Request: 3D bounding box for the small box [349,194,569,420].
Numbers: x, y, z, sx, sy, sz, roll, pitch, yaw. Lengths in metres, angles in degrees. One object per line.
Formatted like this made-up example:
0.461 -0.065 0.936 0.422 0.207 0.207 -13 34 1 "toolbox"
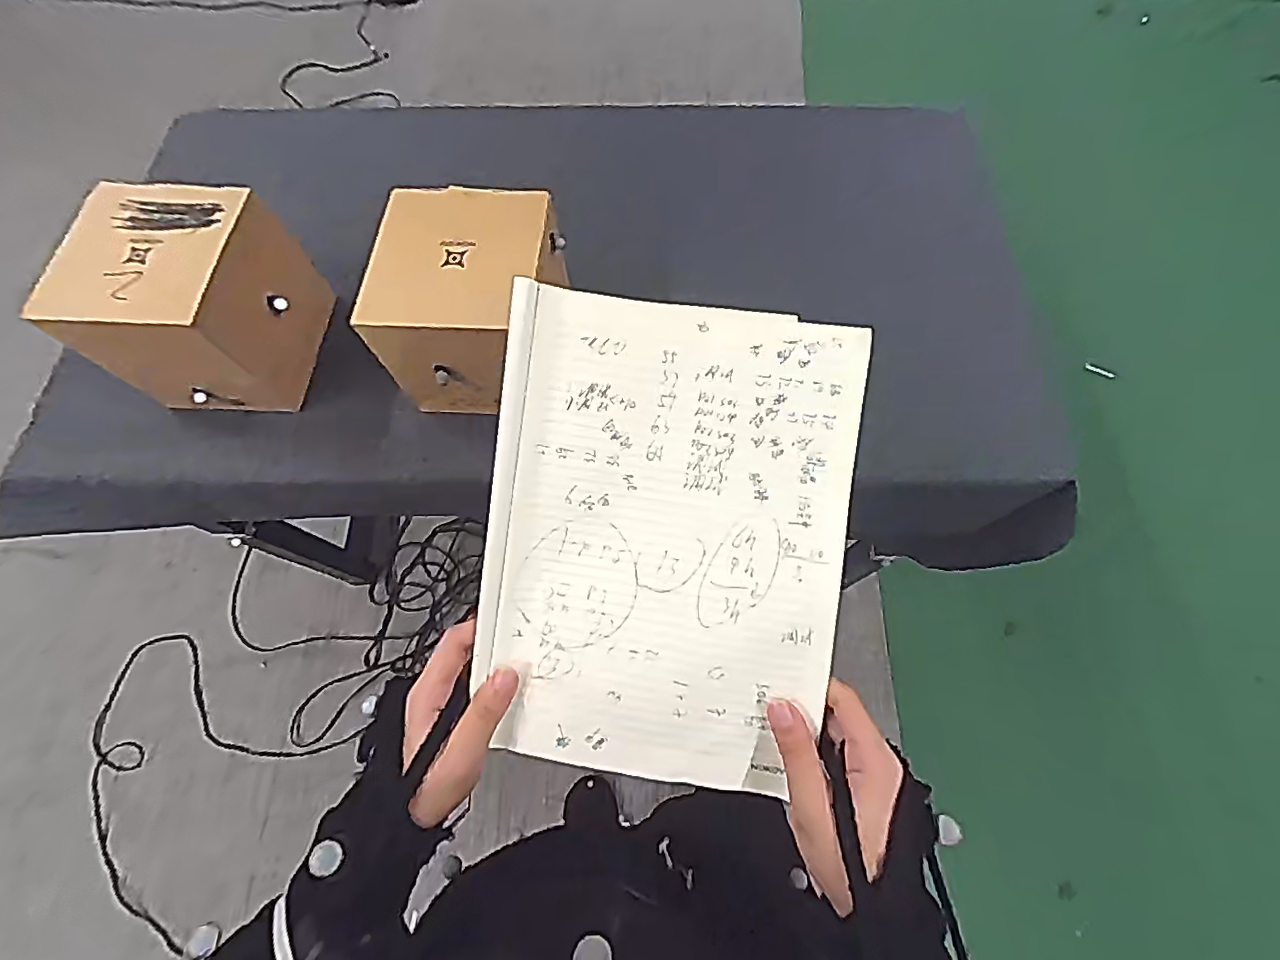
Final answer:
-0.176 -0.178 0.589 0.168 0.176 0.179 2 67 3 "small box"
